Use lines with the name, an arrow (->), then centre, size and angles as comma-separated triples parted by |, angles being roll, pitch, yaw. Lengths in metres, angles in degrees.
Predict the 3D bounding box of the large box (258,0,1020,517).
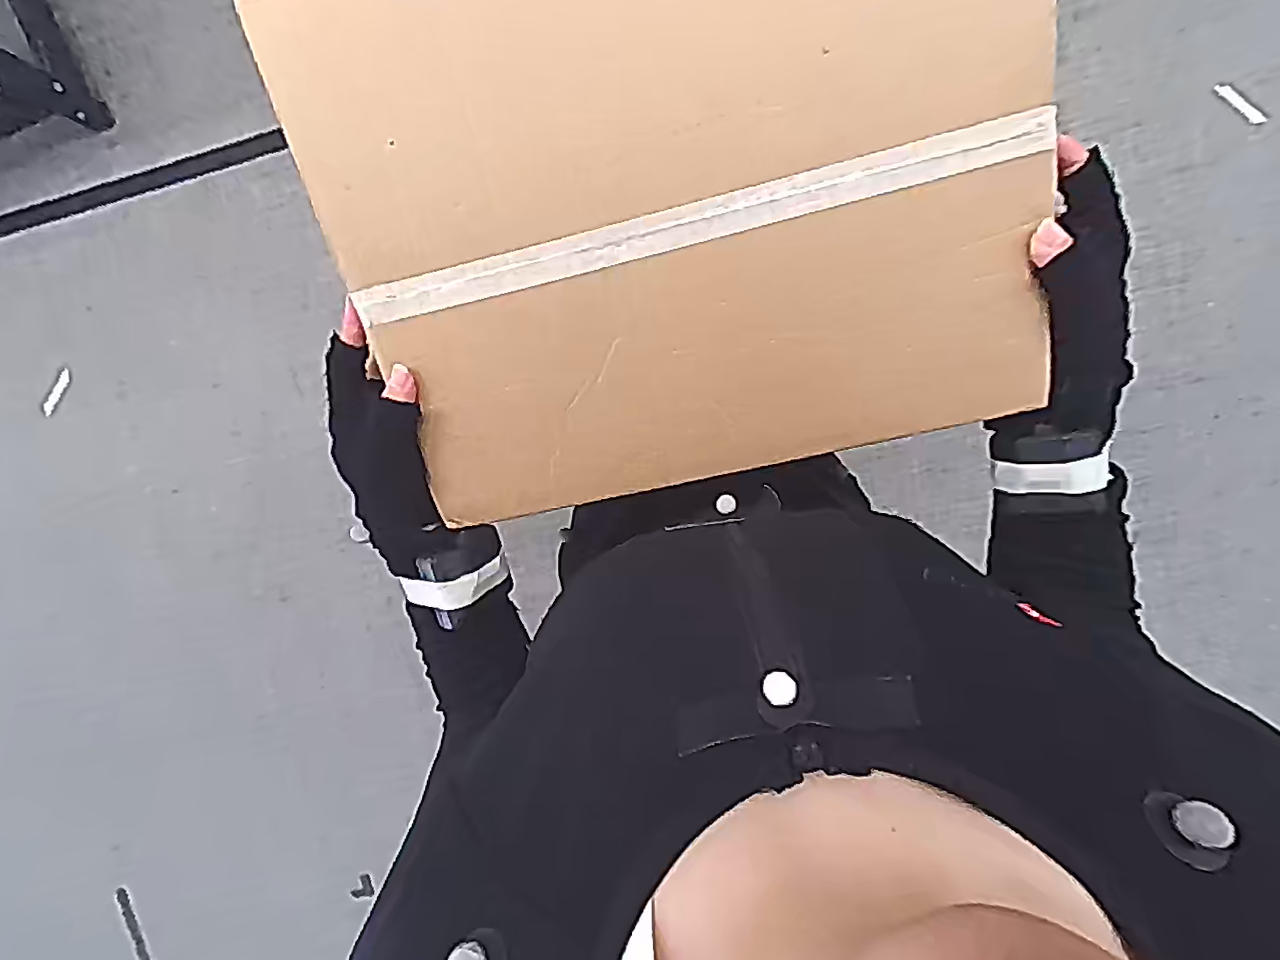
large box -> 0.023, -0.207, 0.461 | 0.408, 0.320, 0.320 | -12, 110, 6
